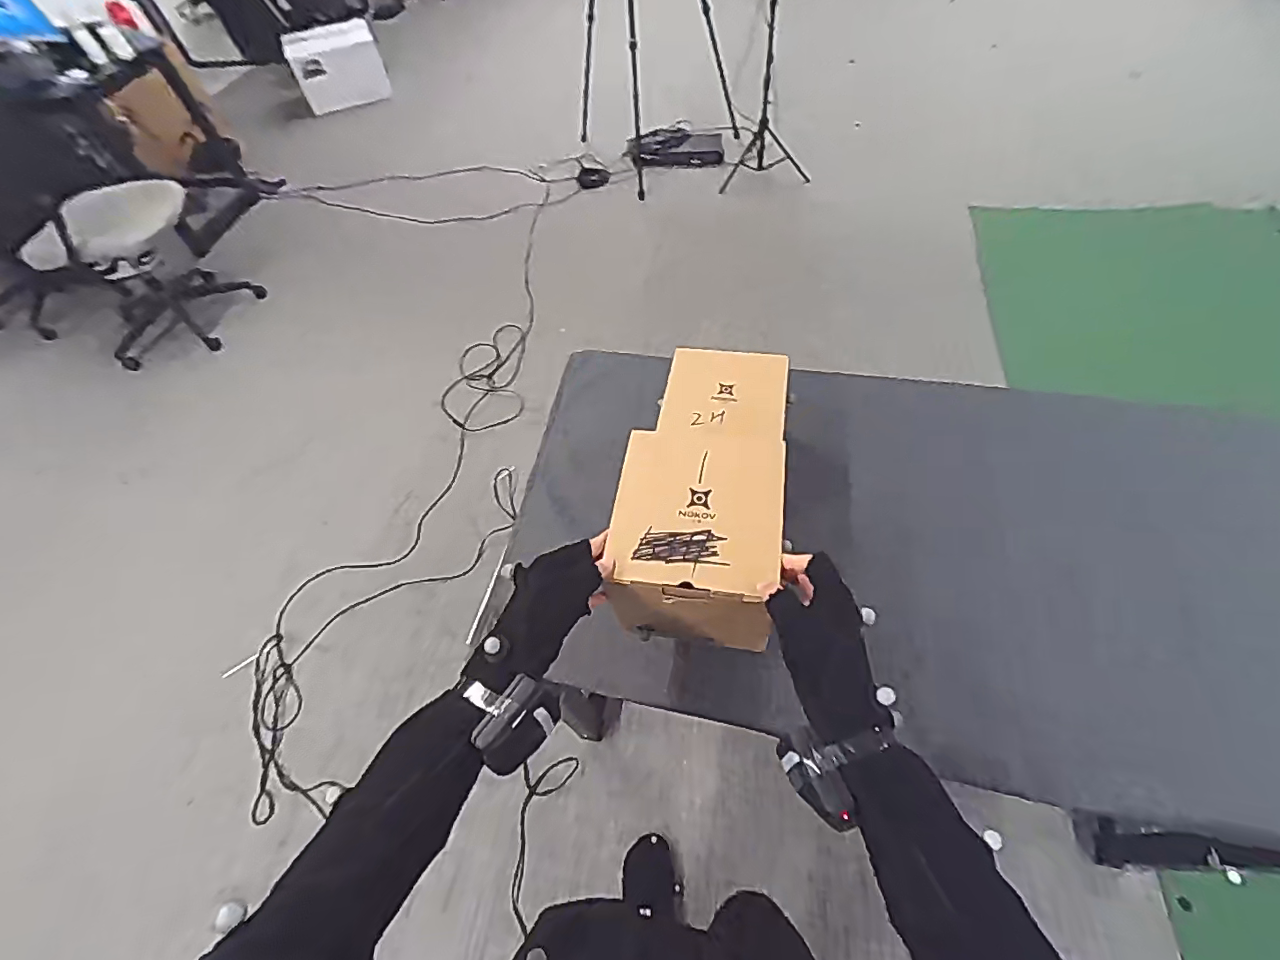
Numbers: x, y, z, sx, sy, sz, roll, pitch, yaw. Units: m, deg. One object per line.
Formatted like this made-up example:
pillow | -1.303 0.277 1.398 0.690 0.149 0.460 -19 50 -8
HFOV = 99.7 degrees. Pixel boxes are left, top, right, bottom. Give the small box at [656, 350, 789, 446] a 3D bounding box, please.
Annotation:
small box | 0.122 -0.067 0.809 0.168 0.176 0.179 7 57 11

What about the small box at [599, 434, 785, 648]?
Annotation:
small box | 0.065 0.072 0.600 0.168 0.176 0.179 6 58 10
